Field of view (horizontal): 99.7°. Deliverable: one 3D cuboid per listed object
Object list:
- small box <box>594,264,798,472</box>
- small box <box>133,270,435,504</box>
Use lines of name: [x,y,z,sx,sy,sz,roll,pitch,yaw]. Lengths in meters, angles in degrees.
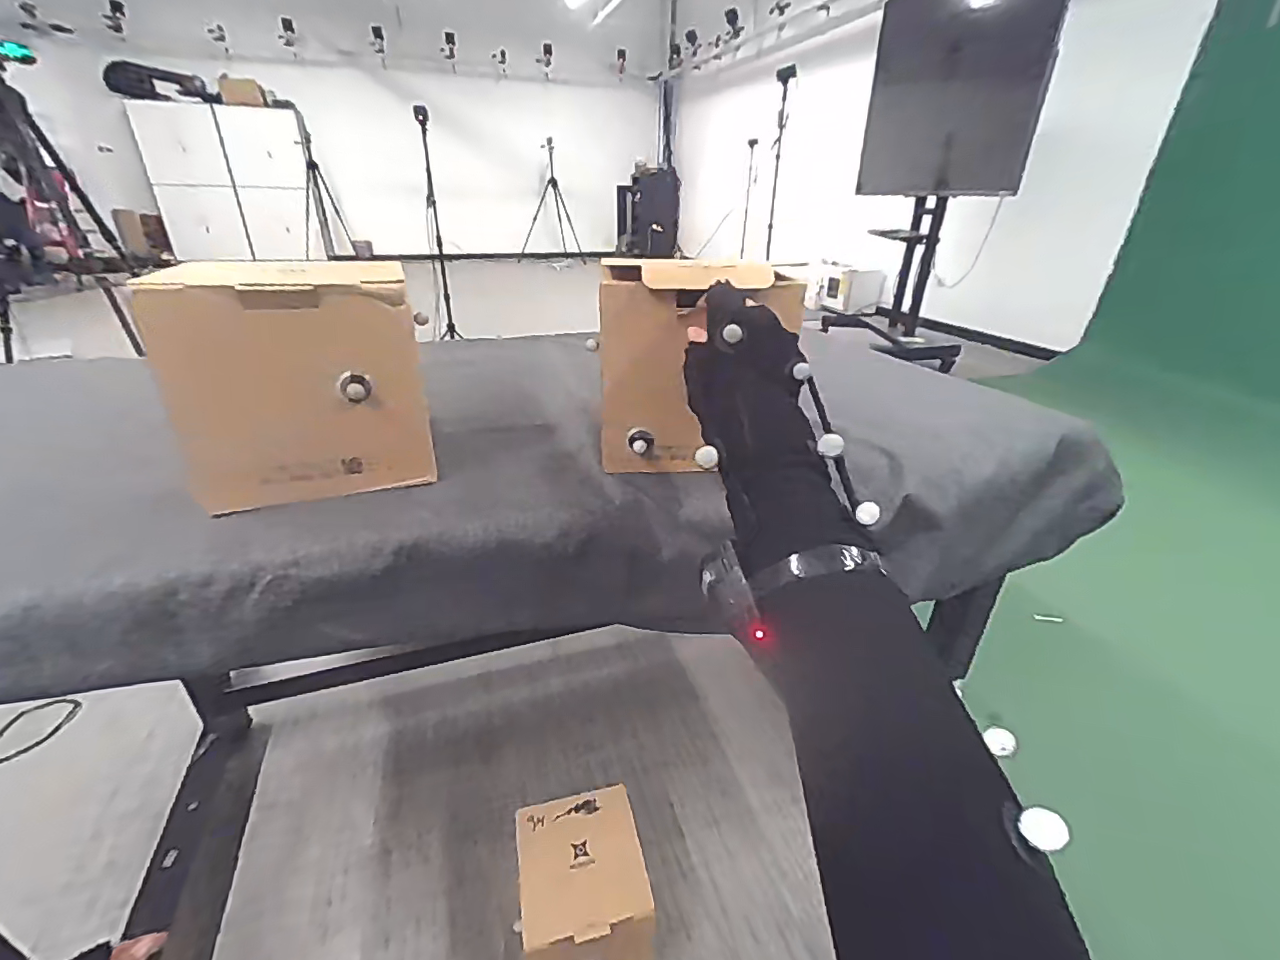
small box: [0.043,-0.114,0.533,0.168,0.176,0.179,-1,26,-3]
small box: [-0.281,-0.086,0.473,0.168,0.176,0.179,-9,26,-22]
